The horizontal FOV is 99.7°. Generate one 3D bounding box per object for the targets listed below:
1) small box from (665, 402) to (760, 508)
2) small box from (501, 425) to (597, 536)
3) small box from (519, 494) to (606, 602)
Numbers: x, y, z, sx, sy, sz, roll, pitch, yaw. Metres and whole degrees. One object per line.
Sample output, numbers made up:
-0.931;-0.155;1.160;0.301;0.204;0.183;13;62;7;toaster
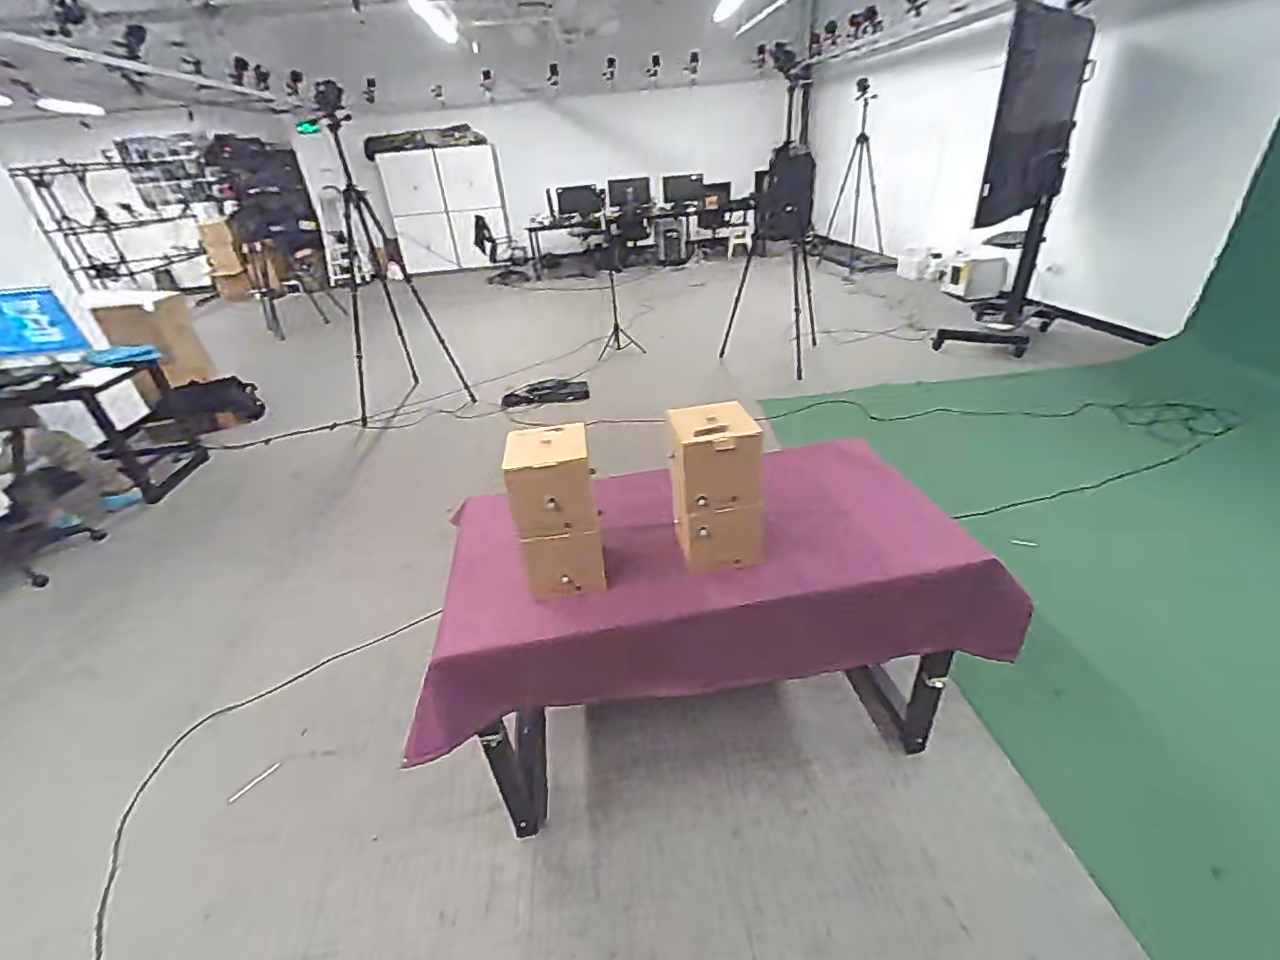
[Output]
0.156;-0.050;1.171;0.168;0.176;0.179;-9;29;-5;small box
-0.186;0.004;1.138;0.168;0.176;0.179;-8;31;-4;small box
-0.171;0.147;1.219;0.168;0.176;0.179;-9;31;-4;small box
